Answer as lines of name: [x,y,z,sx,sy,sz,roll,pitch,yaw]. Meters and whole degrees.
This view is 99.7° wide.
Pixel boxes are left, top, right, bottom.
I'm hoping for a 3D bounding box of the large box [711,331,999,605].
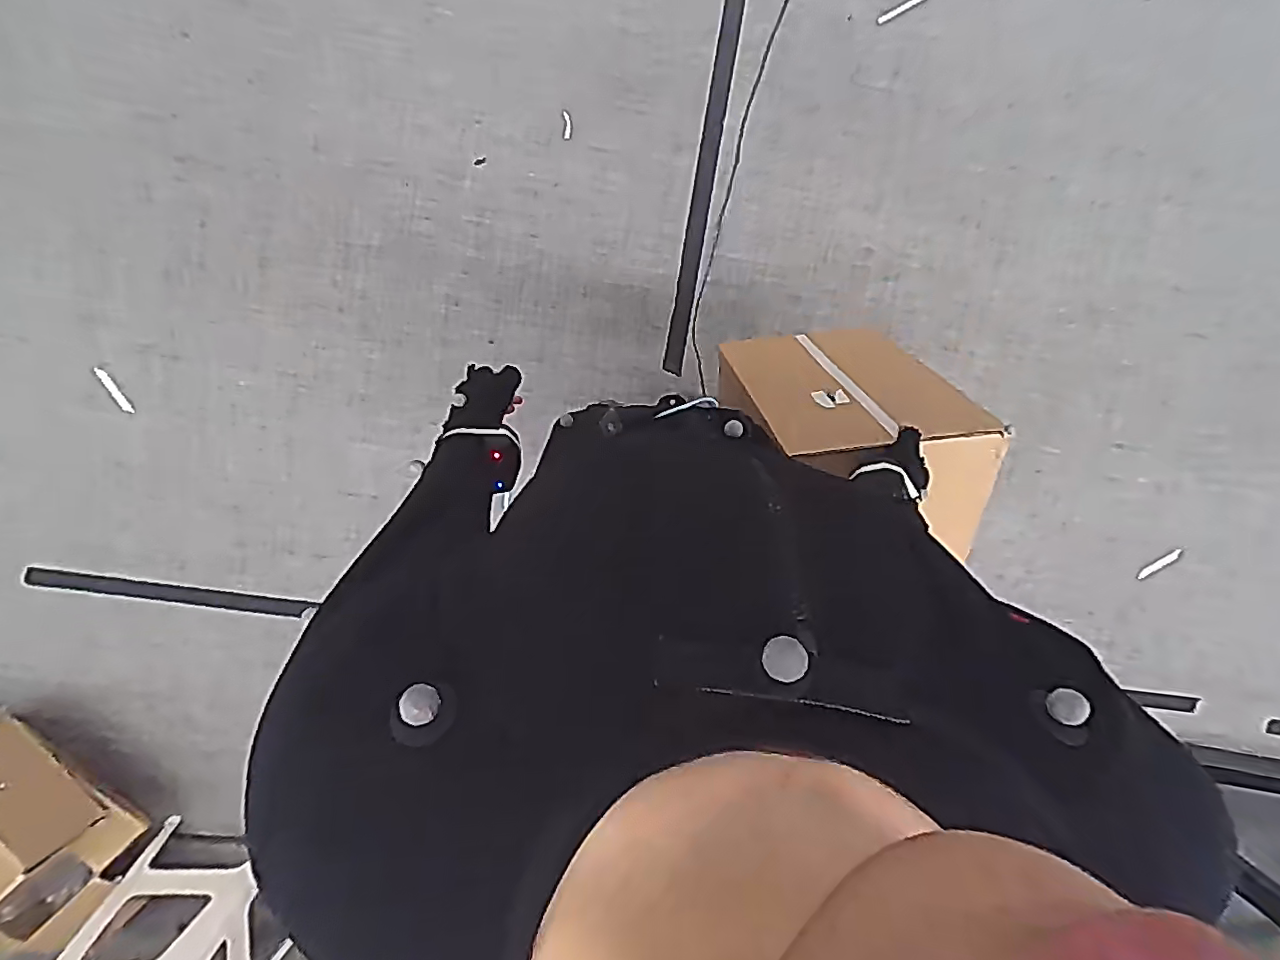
large box: [0.328,-0.040,0.980,0.320,0.408,0.320,-7,127,-3]
